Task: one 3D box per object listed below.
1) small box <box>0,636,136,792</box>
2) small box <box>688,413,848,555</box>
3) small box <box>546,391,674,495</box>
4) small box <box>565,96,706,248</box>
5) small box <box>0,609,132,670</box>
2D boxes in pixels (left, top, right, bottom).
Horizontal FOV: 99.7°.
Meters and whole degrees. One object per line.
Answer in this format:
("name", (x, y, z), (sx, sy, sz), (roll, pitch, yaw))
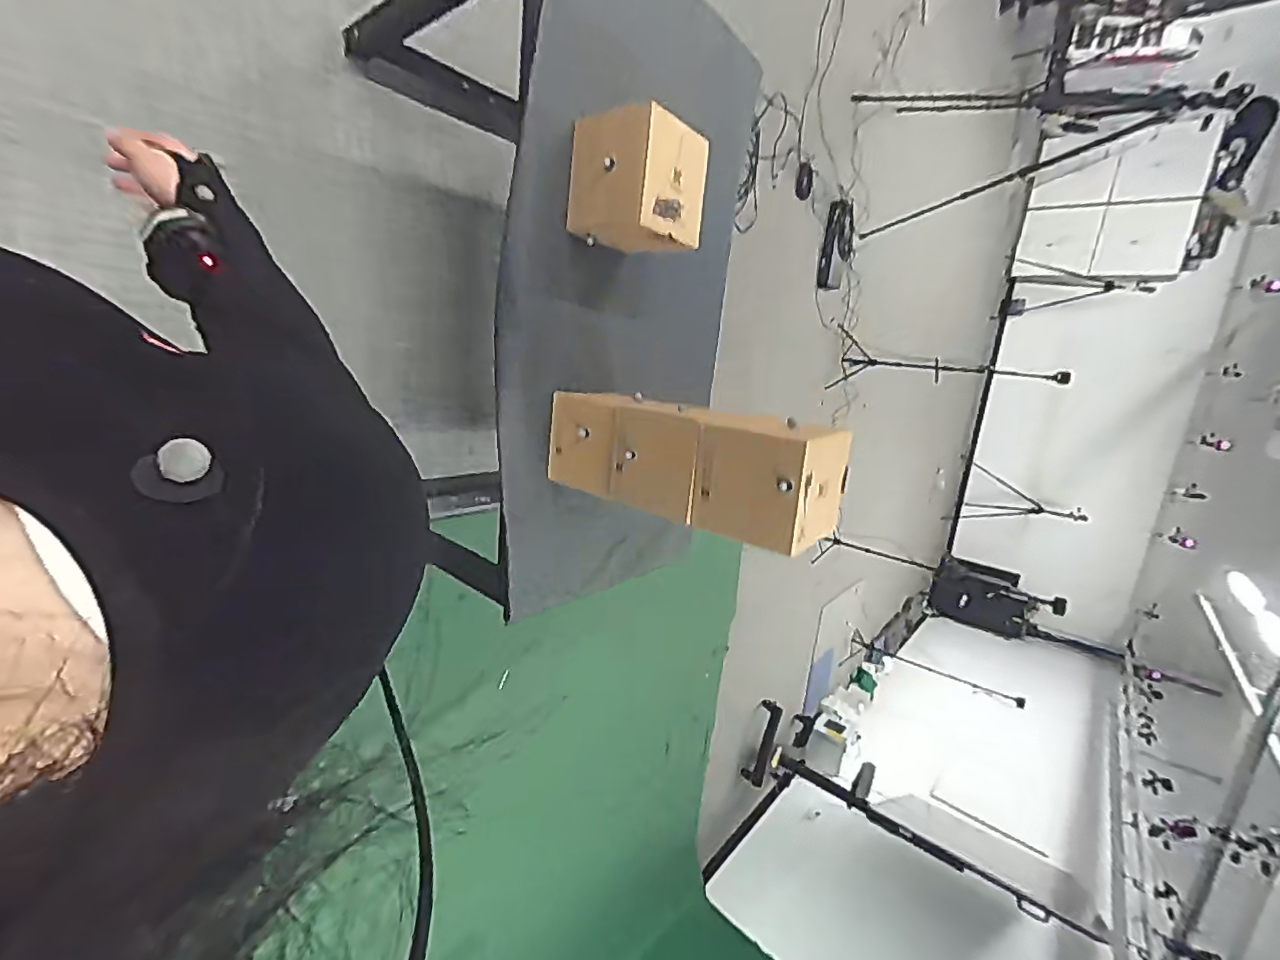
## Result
("small box", (-1.022, 0.390, 0.915), (0.179, 0.176, 0.168), (-60, 139, -16))
("small box", (0.194, -0.006, 0.824), (0.179, 0.176, 0.168), (-15, 114, -50))
("small box", (-0.059, -0.075, 1.021), (0.179, 0.176, 0.168), (-10, 110, -51))
("small box", (-0.010, -0.508, 0.925), (0.168, 0.176, 0.179), (-8, 108, -51))
("small box", (-1.126, 0.357, 1.040), (0.168, 0.176, 0.179), (17, 89, -52))
